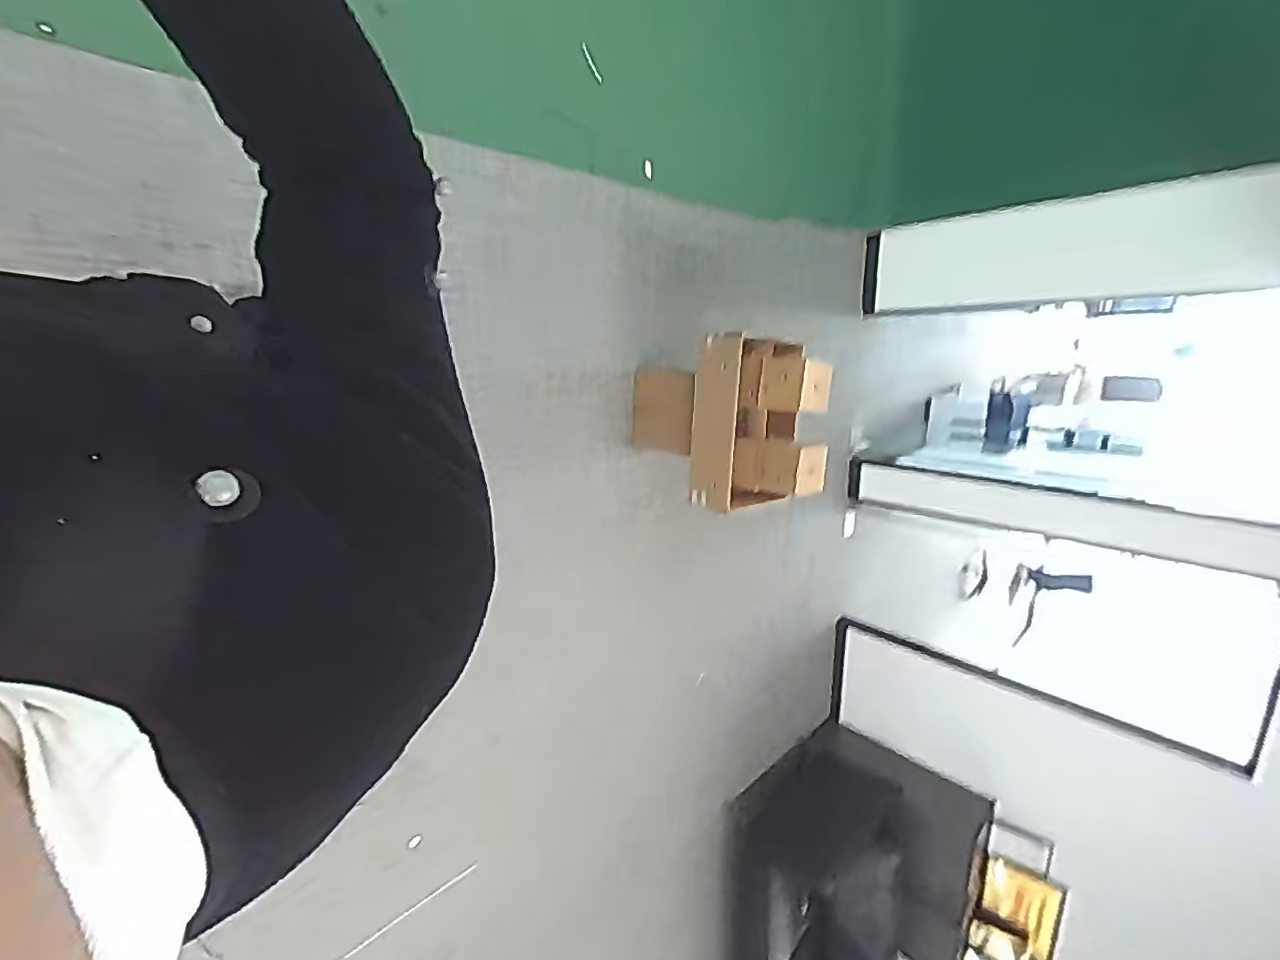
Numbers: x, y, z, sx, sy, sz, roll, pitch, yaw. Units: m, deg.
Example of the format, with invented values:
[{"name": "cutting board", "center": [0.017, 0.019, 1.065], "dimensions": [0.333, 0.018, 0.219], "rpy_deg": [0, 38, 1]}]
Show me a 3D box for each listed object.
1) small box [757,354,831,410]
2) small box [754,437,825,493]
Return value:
[{"name": "small box", "center": [0.511, -0.327, 1.811], "dimensions": [0.179, 0.176, 0.168], "rpy_deg": [-3, 102, -43]}, {"name": "small box", "center": [0.518, -0.057, 1.882], "dimensions": [0.179, 0.176, 0.168], "rpy_deg": [-7, 106, -43]}]
